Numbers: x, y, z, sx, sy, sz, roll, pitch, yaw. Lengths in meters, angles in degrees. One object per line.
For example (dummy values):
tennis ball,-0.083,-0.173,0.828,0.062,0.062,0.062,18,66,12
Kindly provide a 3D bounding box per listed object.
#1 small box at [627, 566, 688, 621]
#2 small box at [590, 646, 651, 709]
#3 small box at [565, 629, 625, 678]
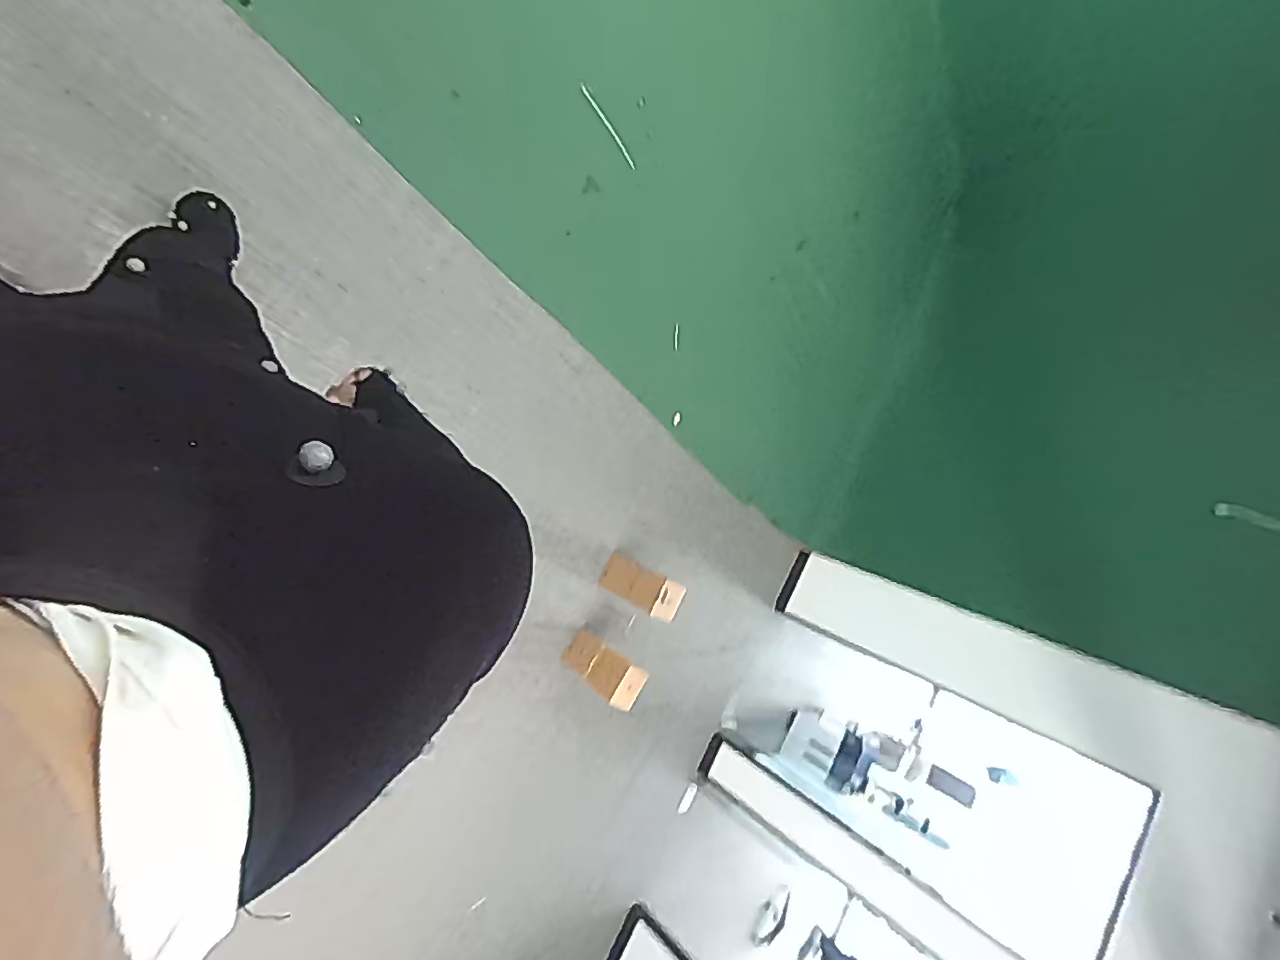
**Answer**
small box,0.073,0.490,2.356,0.179,0.176,0.168,34,80,-48
small box,-0.092,0.850,2.329,0.179,0.176,0.168,-58,137,-13
small box,-0.204,0.795,2.433,0.168,0.176,0.179,-56,135,-13
